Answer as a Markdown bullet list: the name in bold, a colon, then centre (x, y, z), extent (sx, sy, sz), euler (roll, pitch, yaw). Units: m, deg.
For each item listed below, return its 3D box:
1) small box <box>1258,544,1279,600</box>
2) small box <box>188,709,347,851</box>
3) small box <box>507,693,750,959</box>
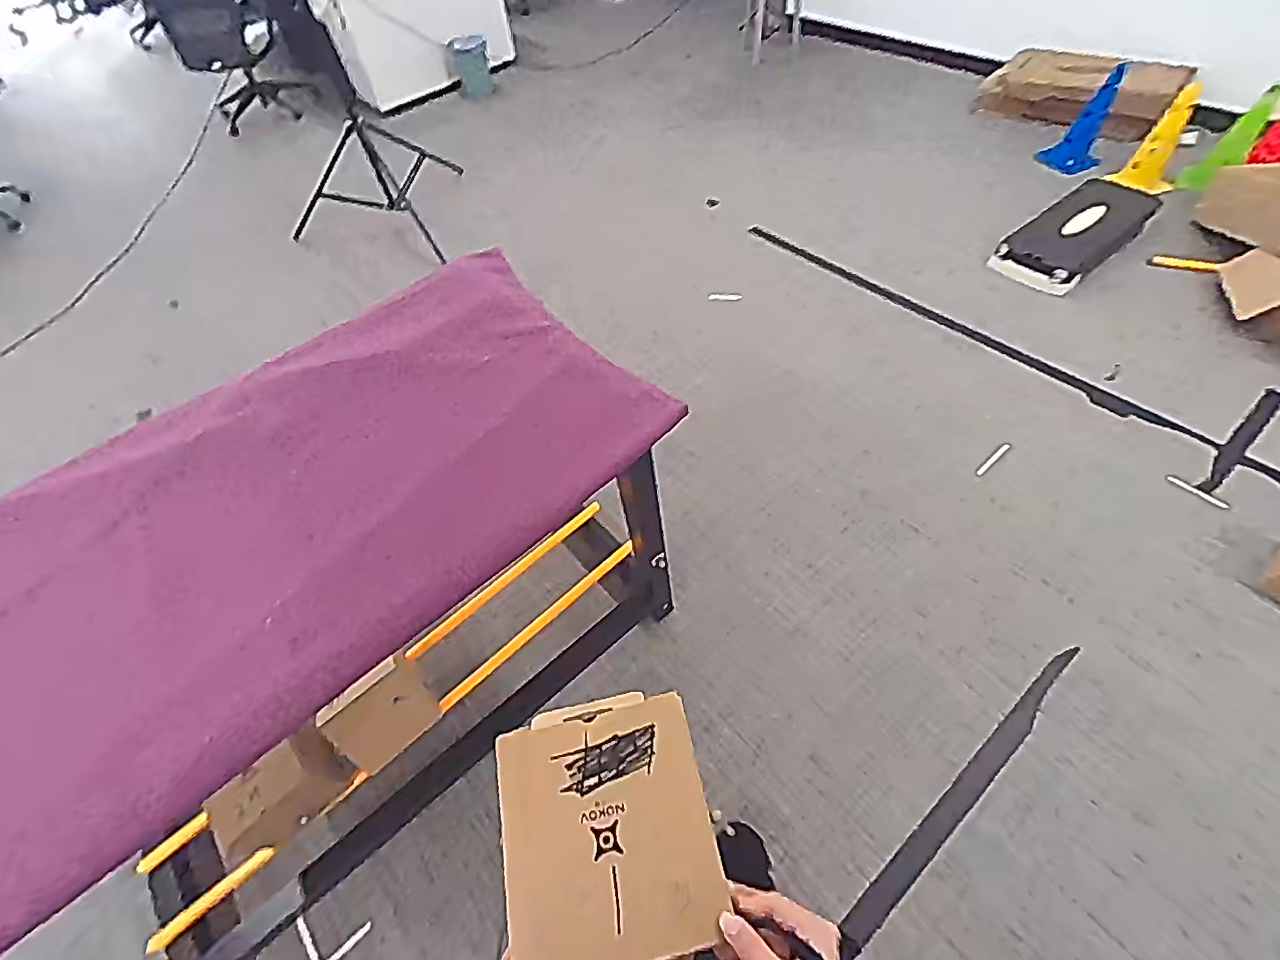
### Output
- **small box**: centre (1.578, 0.204, 1.217), extent (0.179, 0.176, 0.168), euler (-37, 60, -18)
- **small box**: centre (-0.720, 0.591, 1.060), extent (0.168, 0.176, 0.179), euler (-40, 62, -20)
- **small box**: centre (-0.015, 0.315, 0.481), extent (0.168, 0.176, 0.179), euler (-11, 55, -4)
